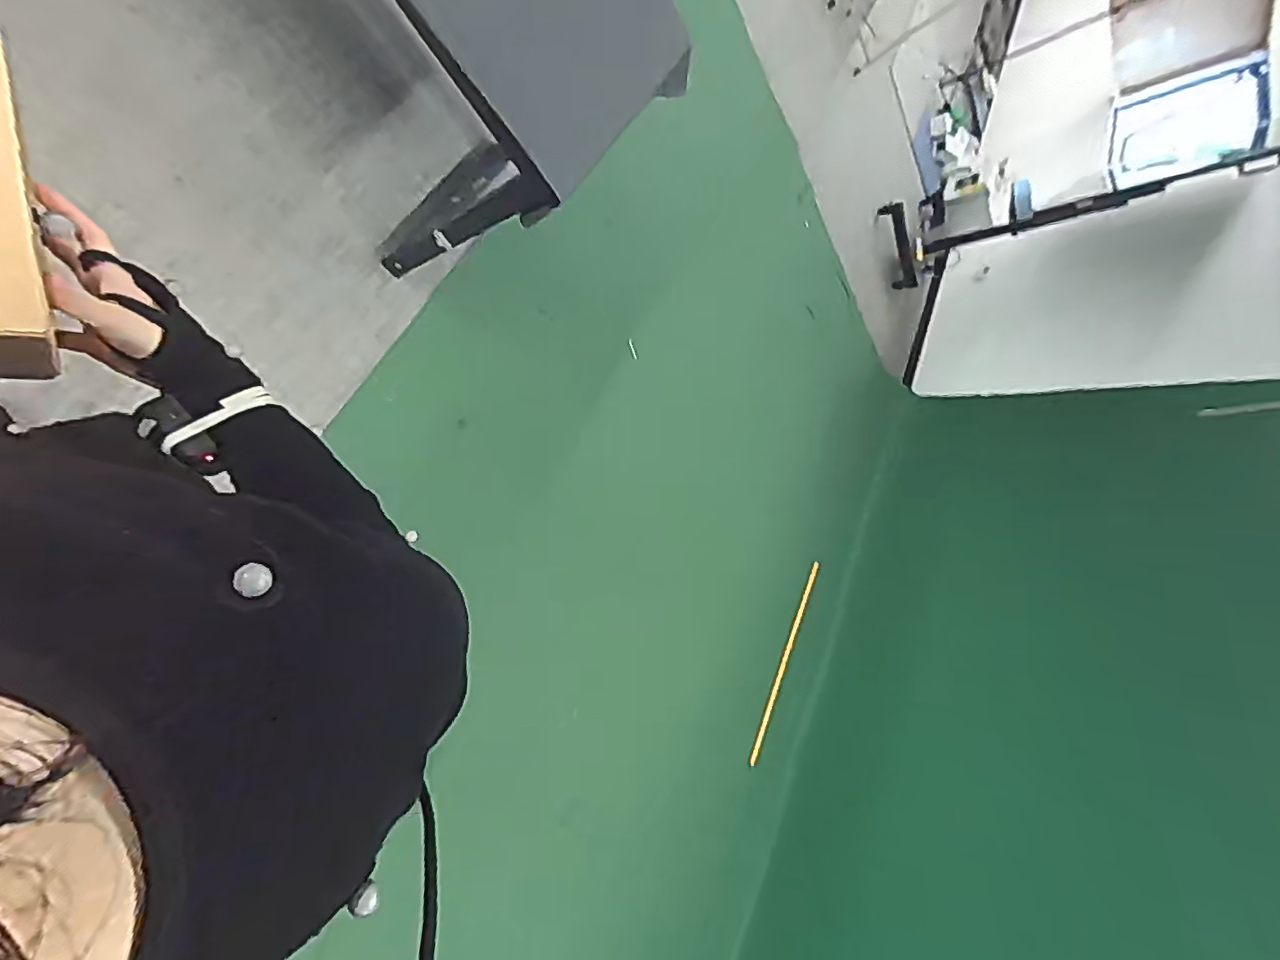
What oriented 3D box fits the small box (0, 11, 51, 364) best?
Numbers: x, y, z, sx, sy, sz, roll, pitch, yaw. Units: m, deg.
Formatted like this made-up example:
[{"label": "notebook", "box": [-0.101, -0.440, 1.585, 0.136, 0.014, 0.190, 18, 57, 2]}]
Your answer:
[{"label": "small box", "box": [-0.459, -0.167, 0.296, 0.168, 0.176, 0.179, -9, 97, -49]}]
